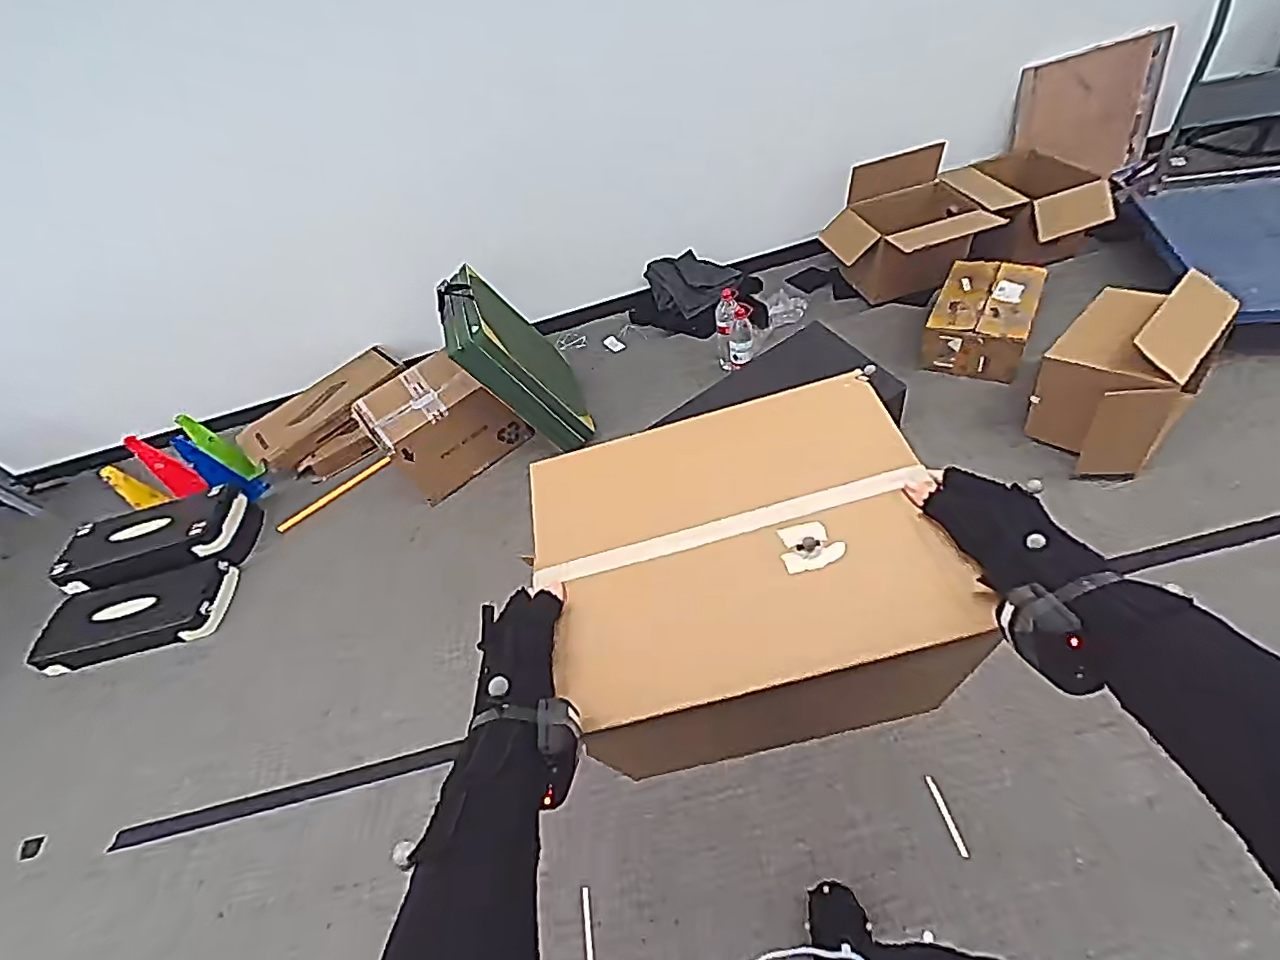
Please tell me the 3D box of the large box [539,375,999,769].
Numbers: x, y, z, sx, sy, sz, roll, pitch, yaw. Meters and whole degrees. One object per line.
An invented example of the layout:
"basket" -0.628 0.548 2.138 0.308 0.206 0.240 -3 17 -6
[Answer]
"large box" 0.123 0.131 0.682 0.408 0.320 0.320 -16 54 3
